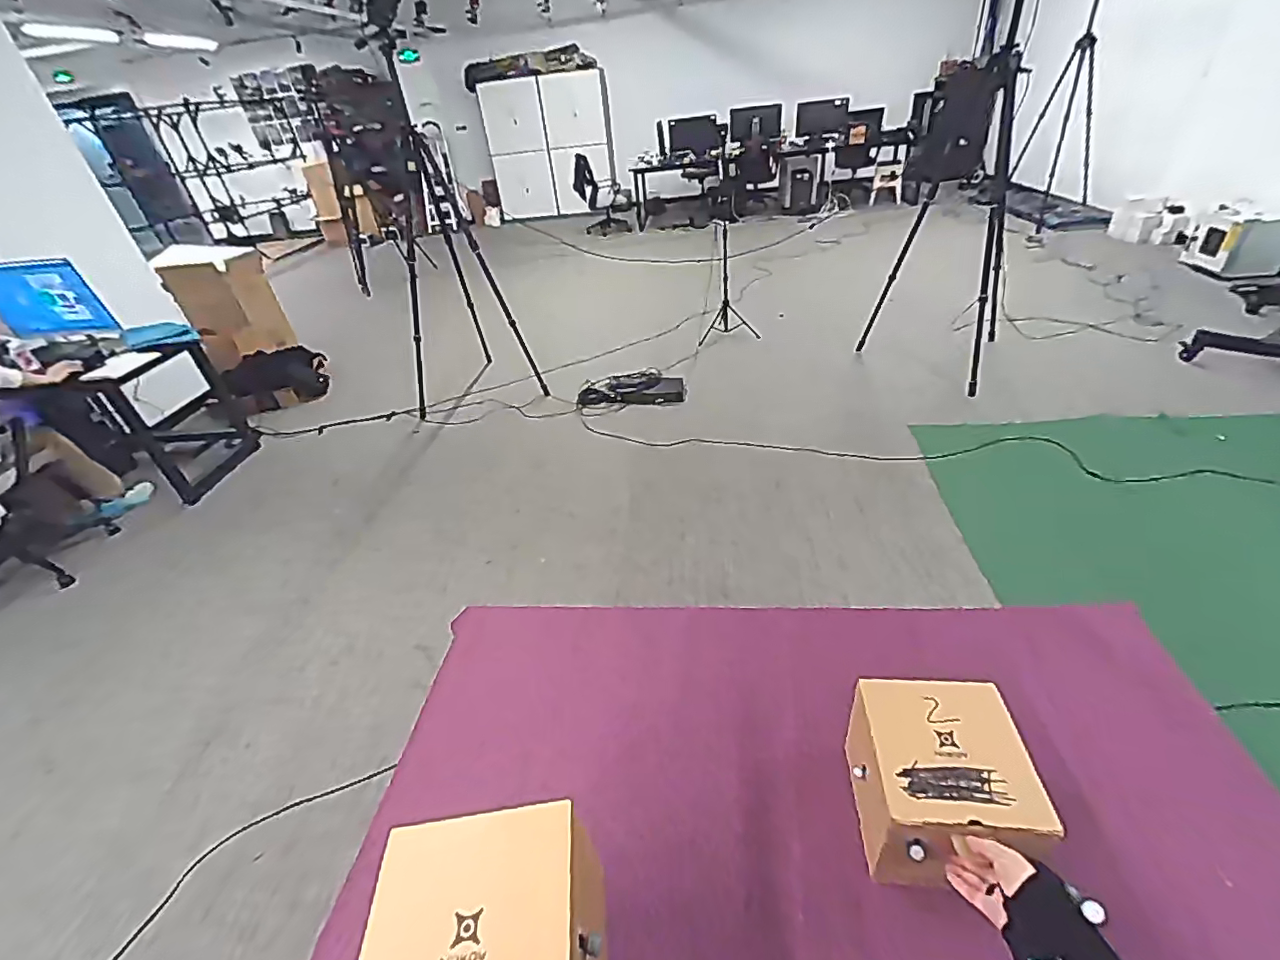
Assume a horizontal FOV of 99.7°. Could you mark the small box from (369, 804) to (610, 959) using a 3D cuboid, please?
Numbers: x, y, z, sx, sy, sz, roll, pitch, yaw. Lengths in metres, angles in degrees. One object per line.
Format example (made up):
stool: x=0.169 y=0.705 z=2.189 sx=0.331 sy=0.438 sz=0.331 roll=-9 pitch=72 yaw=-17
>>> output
small box: x=-0.122 y=0.423 z=0.473 sx=0.168 sy=0.176 sz=0.179 roll=-10 pitch=37 yaw=0
